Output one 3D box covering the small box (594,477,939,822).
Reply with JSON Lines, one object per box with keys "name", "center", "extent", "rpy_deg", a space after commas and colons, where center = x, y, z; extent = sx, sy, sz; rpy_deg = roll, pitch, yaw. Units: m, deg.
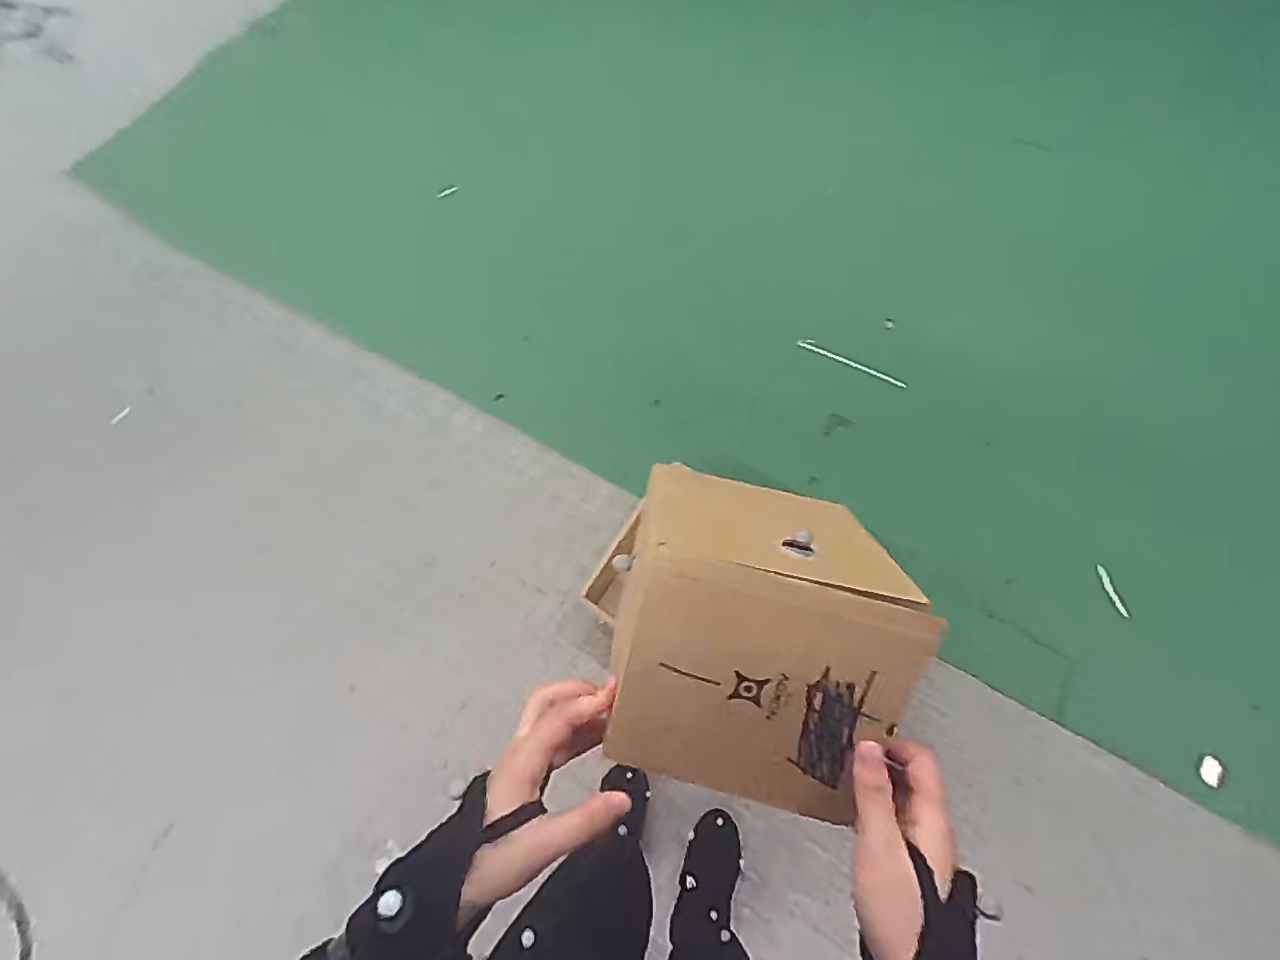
{"name": "small box", "center": [0.073, 0.110, 0.407], "extent": [0.179, 0.176, 0.168], "rpy_deg": [13, 109, -2]}
